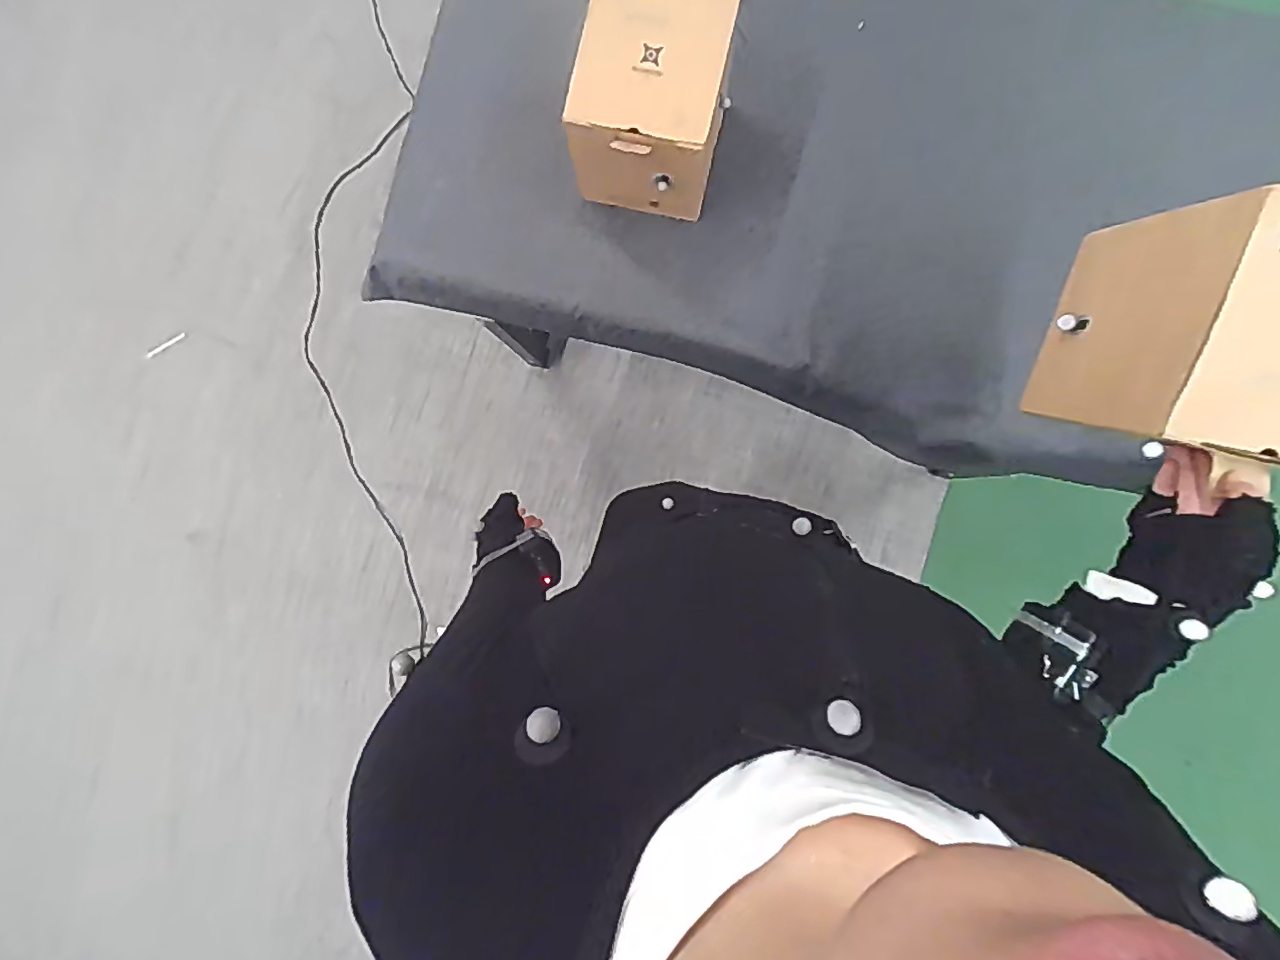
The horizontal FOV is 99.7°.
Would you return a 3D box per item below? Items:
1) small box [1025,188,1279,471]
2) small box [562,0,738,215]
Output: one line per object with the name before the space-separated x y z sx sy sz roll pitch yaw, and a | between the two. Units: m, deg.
small box | 0.478 -0.117 0.460 0.168 0.176 0.179 12 105 -2
small box | 0.014 -0.464 0.675 0.168 0.176 0.179 13 89 2
